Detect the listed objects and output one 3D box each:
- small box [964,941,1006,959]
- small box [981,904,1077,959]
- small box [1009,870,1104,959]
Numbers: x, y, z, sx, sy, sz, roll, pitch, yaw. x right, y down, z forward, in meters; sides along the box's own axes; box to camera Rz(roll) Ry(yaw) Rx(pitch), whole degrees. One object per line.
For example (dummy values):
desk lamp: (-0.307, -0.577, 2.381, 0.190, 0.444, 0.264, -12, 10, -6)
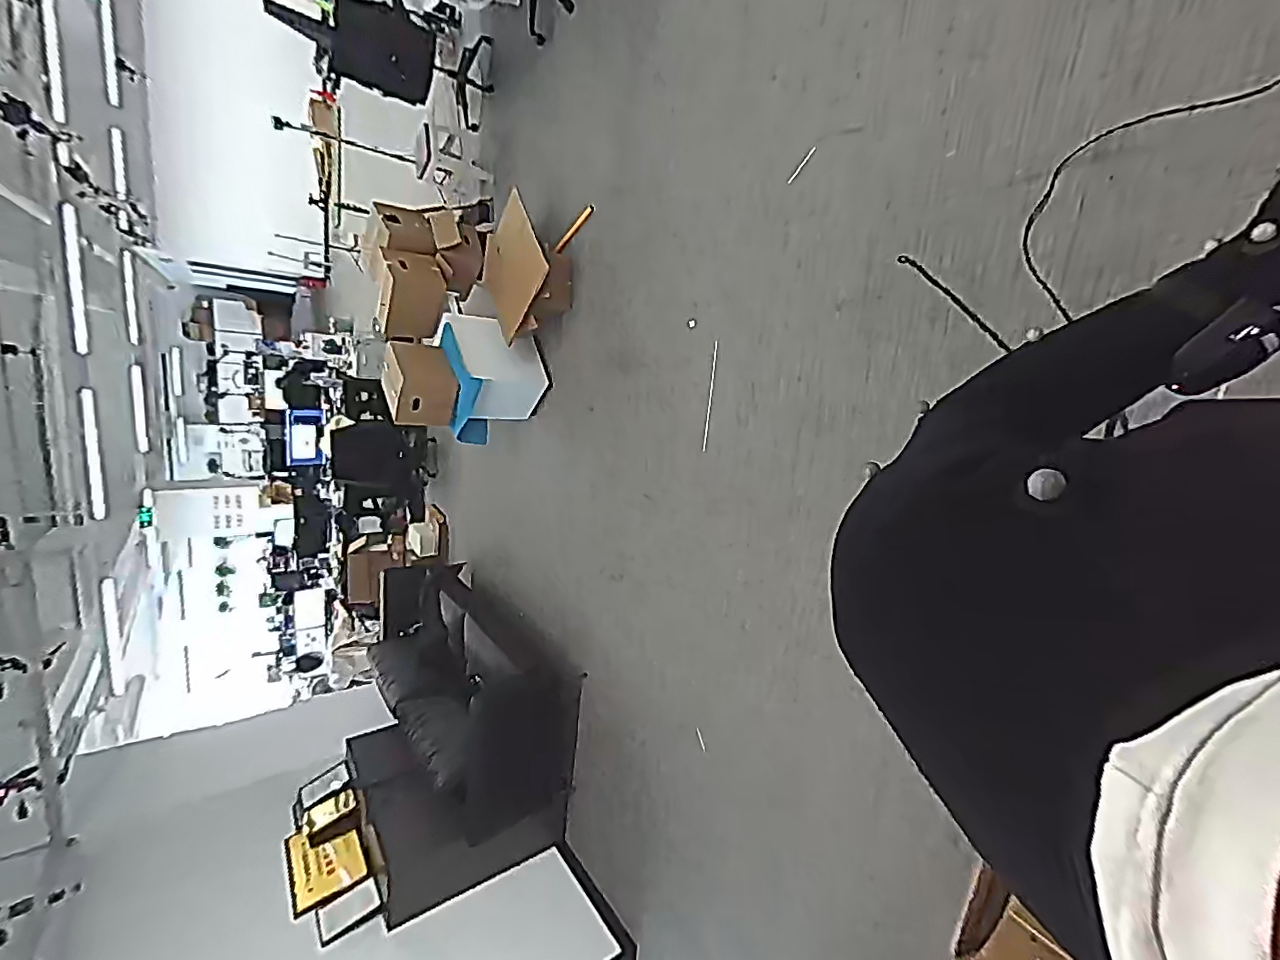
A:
small box: (0.747, 1.149, 1.140, 0.168, 0.176, 0.179, 24, 111, 48)
small box: (0.878, 1.137, 1.239, 0.168, 0.176, 0.179, 25, 113, 49)
small box: (1.010, 1.127, 1.337, 0.168, 0.176, 0.179, 25, 112, 49)
